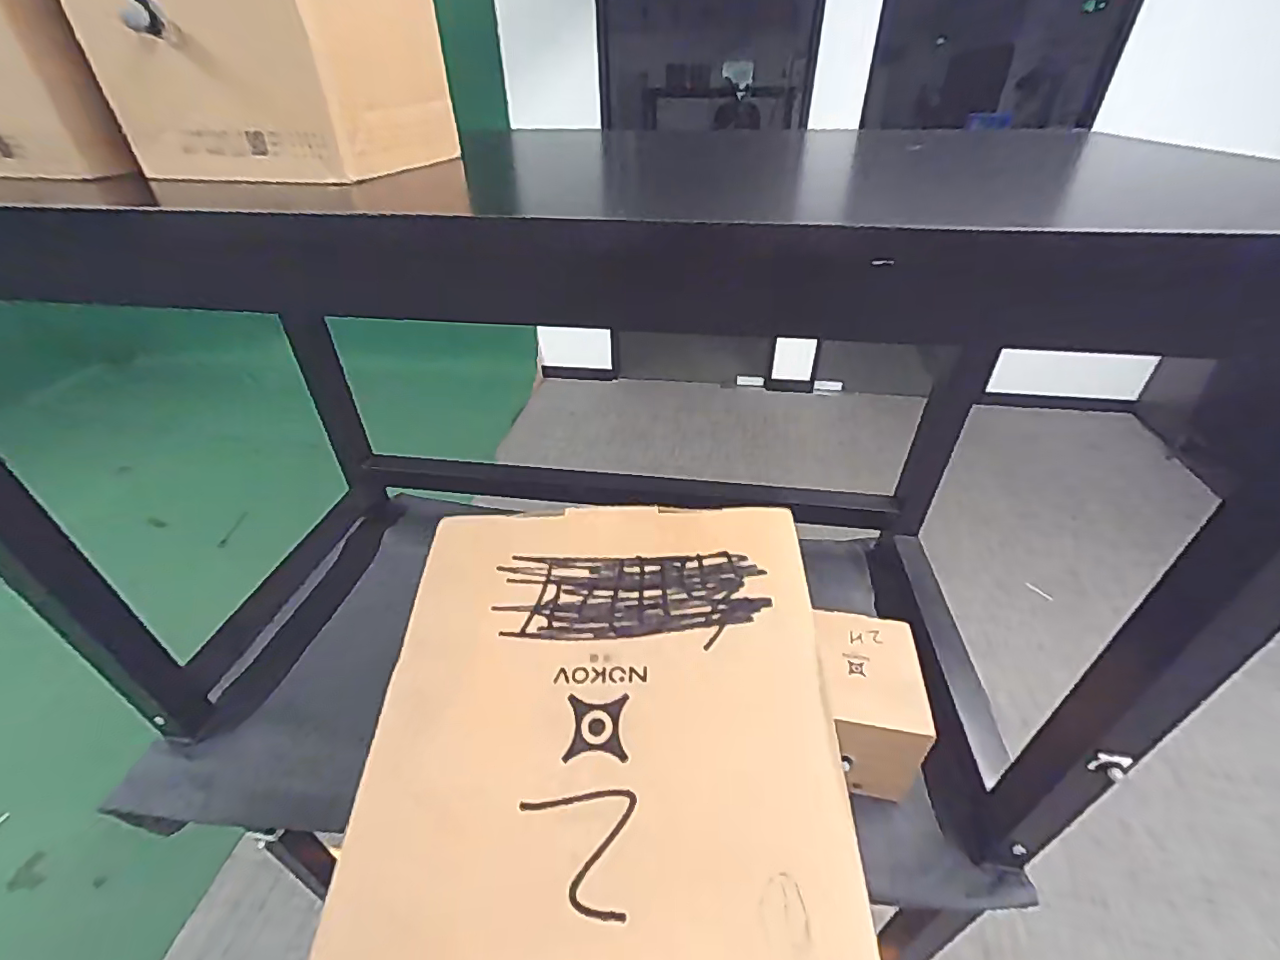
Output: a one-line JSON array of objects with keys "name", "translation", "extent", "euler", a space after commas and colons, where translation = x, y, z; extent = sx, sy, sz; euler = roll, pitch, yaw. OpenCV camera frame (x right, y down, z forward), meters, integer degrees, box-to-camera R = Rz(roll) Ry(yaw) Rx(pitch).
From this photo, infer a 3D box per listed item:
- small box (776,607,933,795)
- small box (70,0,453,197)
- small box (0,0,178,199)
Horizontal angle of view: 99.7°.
[{"name": "small box", "translation": [0.289, 0.311, 0.767], "extent": [0.168, 0.176, 0.179], "euler": [7, 36, 10]}, {"name": "small box", "translation": [-0.263, -0.317, 0.406], "extent": [0.168, 0.176, 0.179], "euler": [6, 36, 9]}, {"name": "small box", "translation": [-0.458, -0.333, 0.426], "extent": [0.168, 0.176, 0.179], "euler": [6, 38, 8]}]
